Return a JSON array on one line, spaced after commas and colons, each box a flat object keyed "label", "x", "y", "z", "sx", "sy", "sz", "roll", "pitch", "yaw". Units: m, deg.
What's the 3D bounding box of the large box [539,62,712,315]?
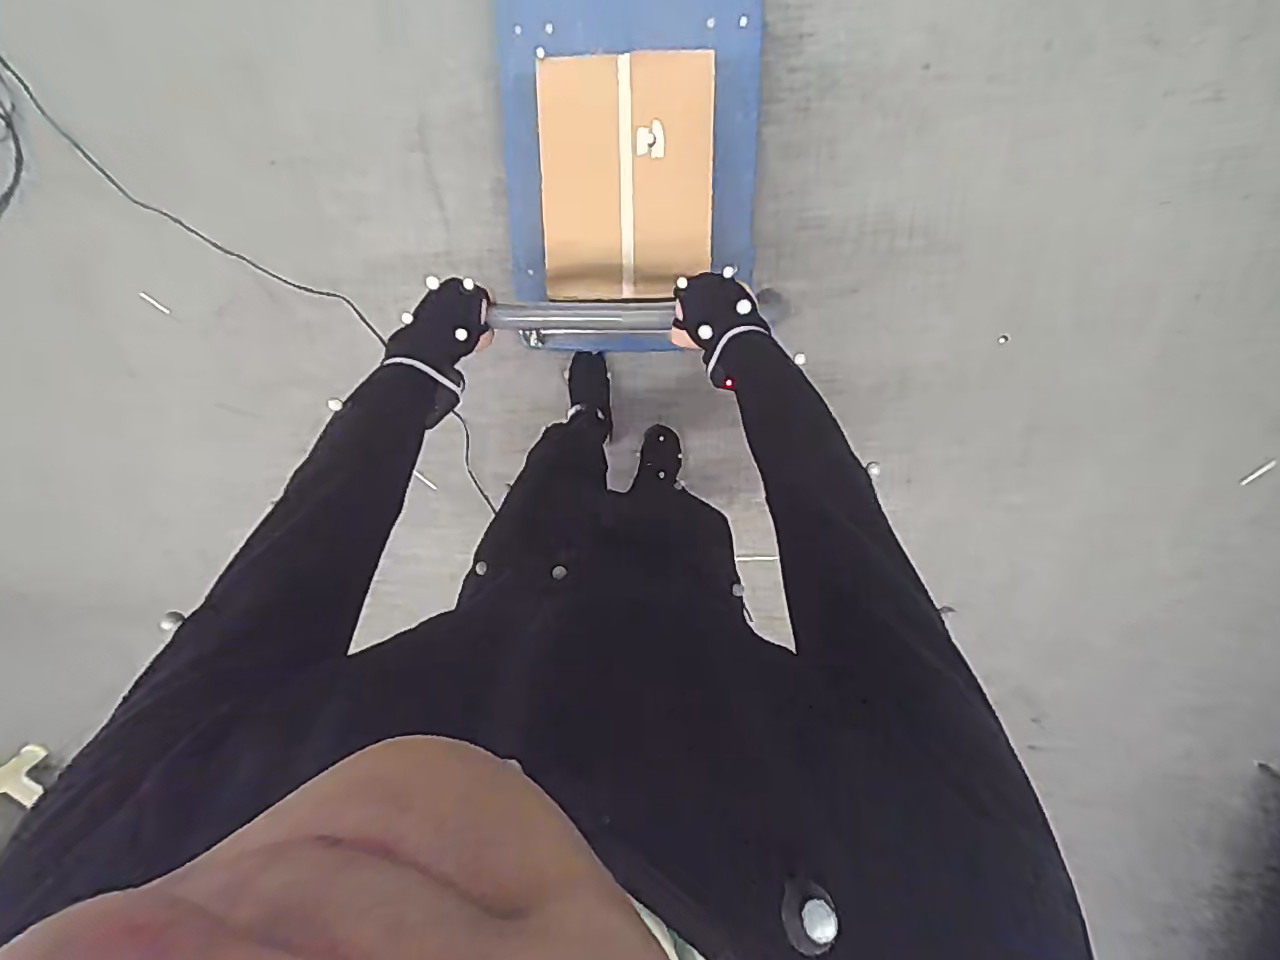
[{"label": "large box", "x": -0.013, "y": -0.571, "z": 1.143, "sx": 0.320, "sy": 0.320, "sz": 0.408, "roll": 0, "pitch": 104, "yaw": 3}]
